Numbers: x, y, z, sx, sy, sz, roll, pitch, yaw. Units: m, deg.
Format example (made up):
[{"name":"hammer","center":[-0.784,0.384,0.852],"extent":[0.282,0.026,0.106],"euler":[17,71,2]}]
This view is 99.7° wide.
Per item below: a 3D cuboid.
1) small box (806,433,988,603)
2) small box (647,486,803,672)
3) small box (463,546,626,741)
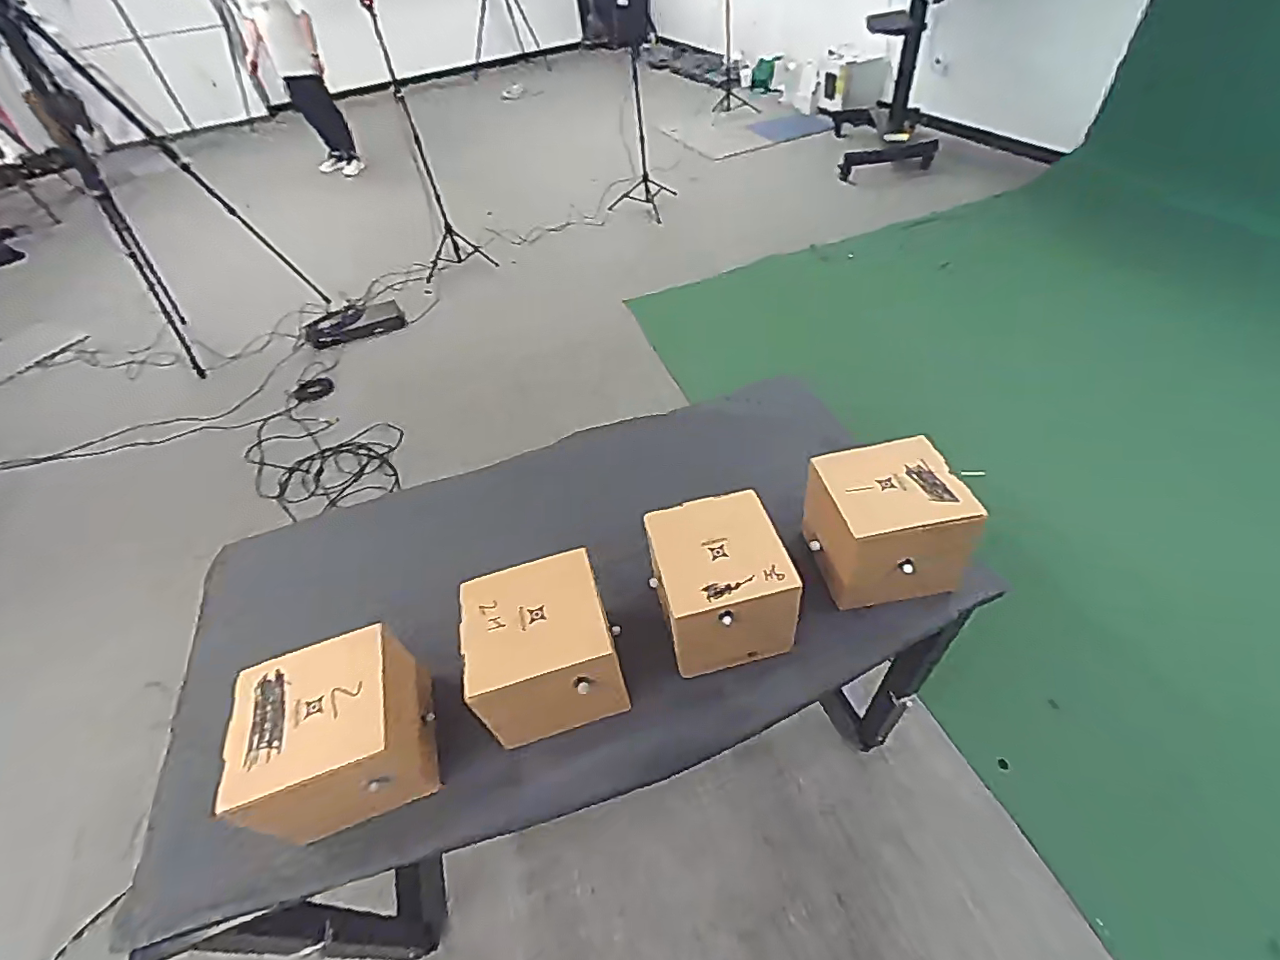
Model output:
[{"name":"small box","center":[0.358,0.059,0.795],"extent":[0.179,0.176,0.168],"euler":[-11,43,1]},{"name":"small box","center":[0.112,0.140,0.766],"extent":[0.168,0.176,0.179],"euler":[-13,45,-3]},{"name":"small box","center":[-0.123,0.222,0.728],"extent":[0.179,0.176,0.168],"euler":[-17,46,-5]}]
